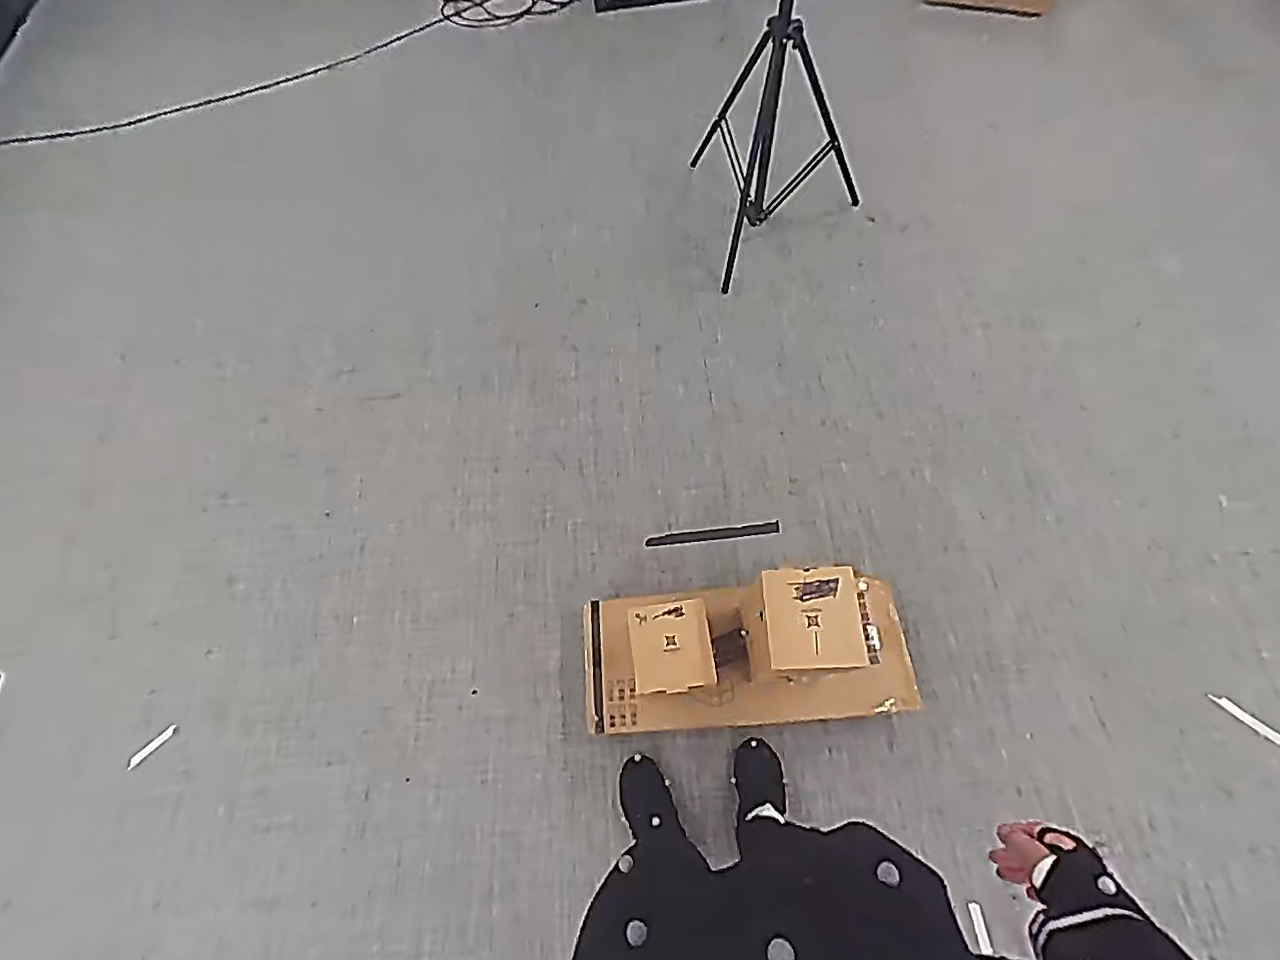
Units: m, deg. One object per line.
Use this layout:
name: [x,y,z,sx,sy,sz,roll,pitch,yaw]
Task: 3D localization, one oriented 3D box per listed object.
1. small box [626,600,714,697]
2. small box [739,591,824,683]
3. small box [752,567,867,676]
small box: [0.067,0.371,1.183,0.168,0.176,0.179,-8,68,2]
small box: [0.313,0.339,1.176,0.168,0.176,0.179,-6,67,3]
small box: [0.309,0.273,1.026,0.168,0.176,0.179,-3,67,4]
